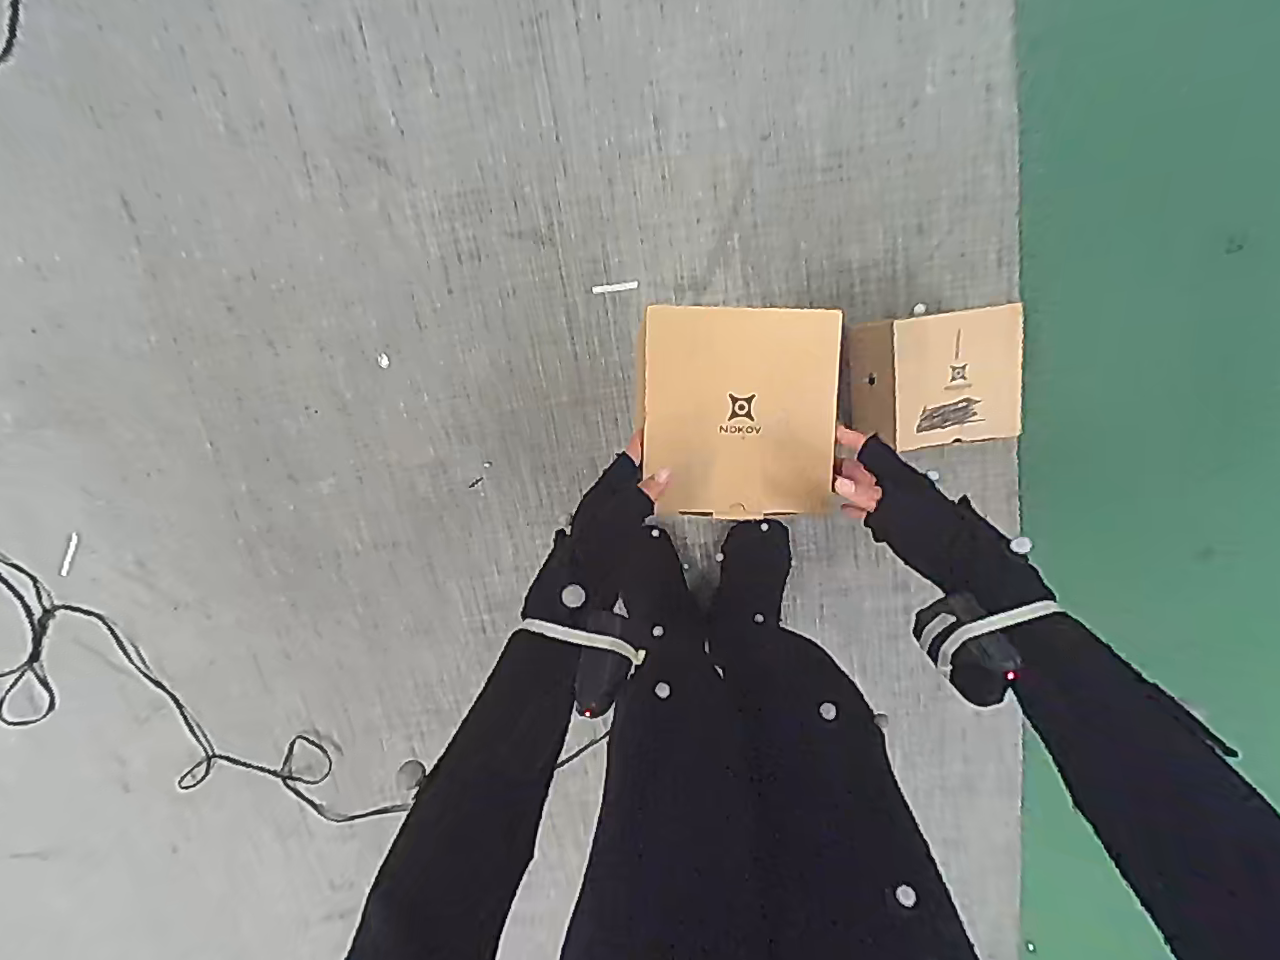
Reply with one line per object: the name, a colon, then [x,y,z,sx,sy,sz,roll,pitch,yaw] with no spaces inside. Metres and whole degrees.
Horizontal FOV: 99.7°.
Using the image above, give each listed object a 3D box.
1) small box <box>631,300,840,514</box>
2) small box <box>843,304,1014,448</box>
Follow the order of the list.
small box: [0.077,-0.067,0.528,0.168,0.176,0.179,0,98,-4]
small box: [0.410,-0.154,0.794,0.168,0.176,0.179,-7,103,2]
